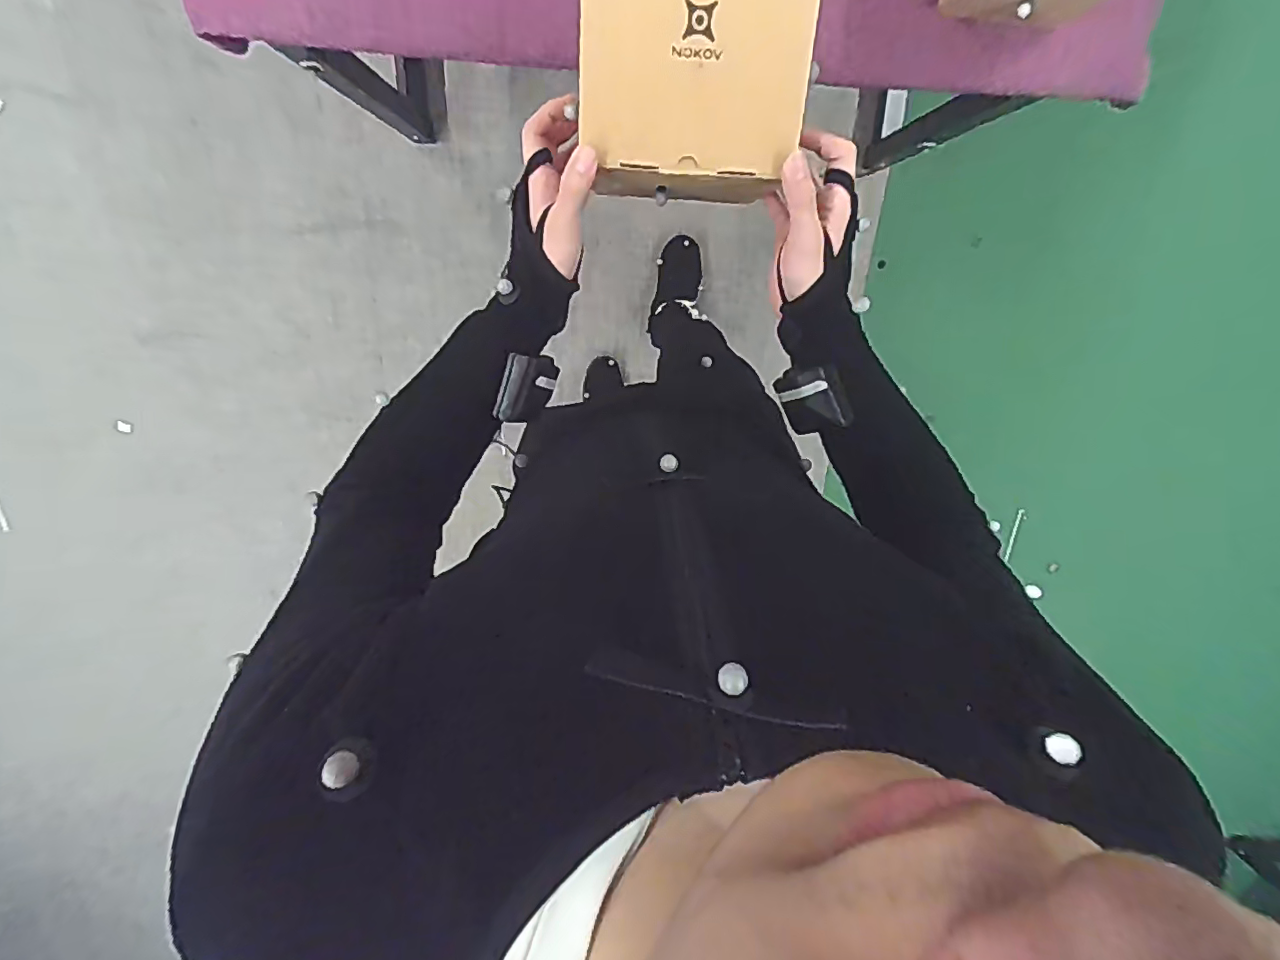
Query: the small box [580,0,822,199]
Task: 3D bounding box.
[{"bbox_3d":[0.039,-0.344,0.446,0.168,0.176,0.179,2,112,-3],"label":"small box"}]
